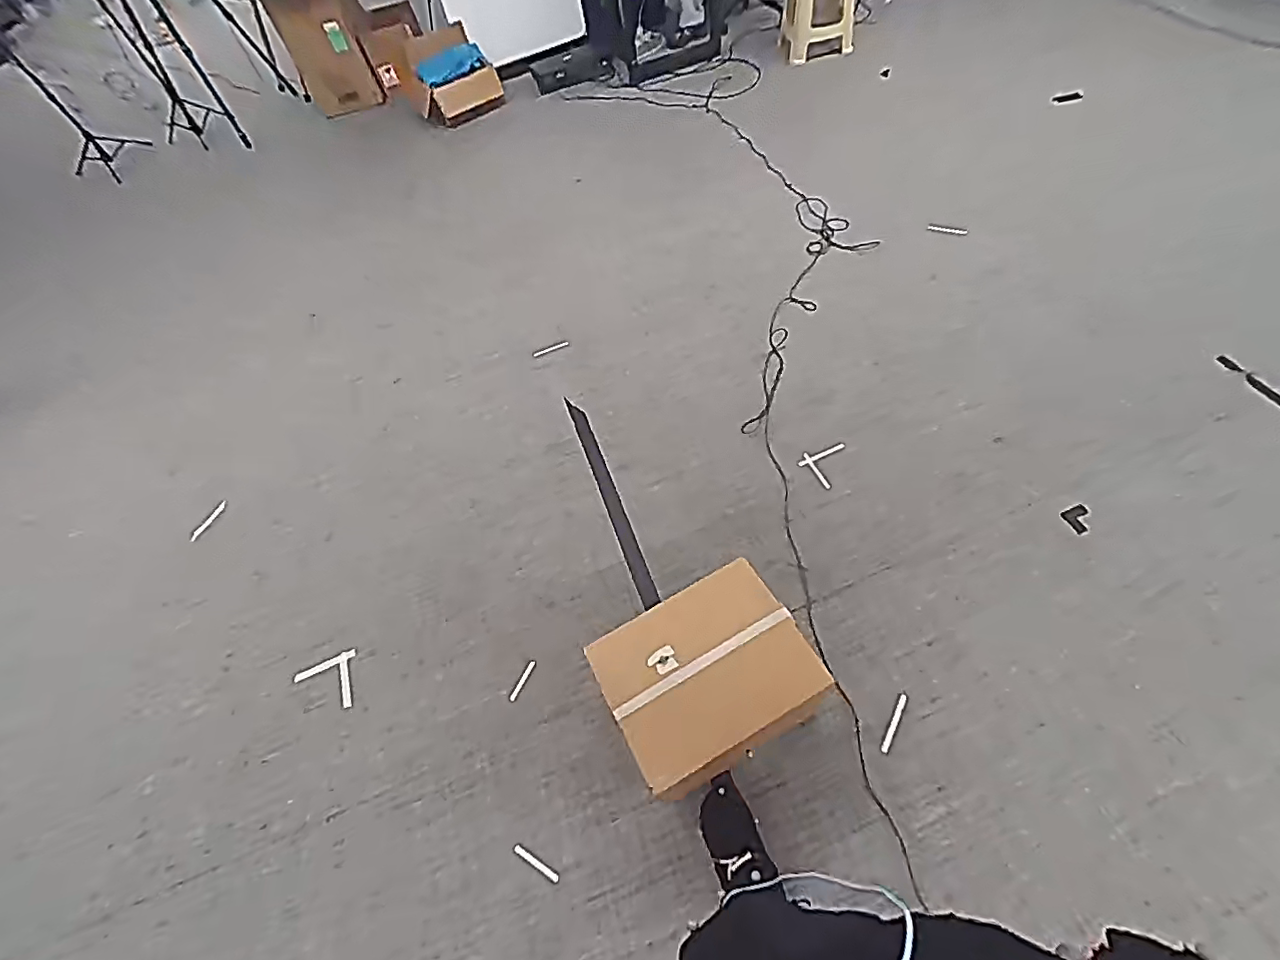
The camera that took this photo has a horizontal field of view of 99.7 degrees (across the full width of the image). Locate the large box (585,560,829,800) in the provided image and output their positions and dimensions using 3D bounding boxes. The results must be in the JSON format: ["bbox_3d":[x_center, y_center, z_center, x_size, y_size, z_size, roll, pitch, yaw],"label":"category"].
[{"bbox_3d":[0.148,0.451,1.205,0.408,0.320,0.320,-29,56,-7],"label":"large box"}]
